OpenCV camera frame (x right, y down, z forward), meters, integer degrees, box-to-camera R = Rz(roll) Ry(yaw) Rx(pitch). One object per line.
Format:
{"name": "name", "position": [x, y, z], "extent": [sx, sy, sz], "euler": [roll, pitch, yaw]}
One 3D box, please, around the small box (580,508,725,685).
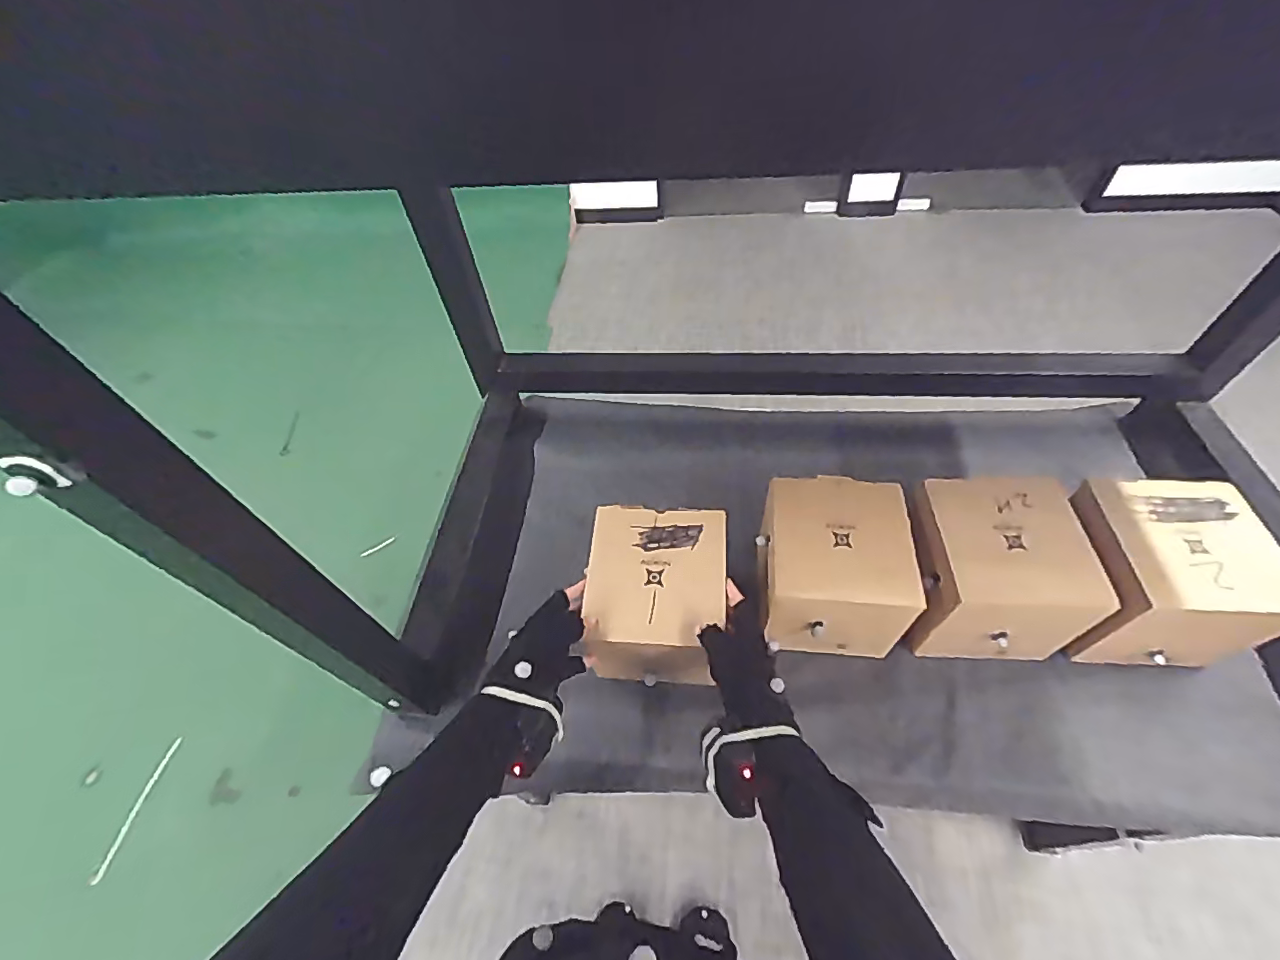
{"name": "small box", "position": [0.024, 0.156, 0.716], "extent": [0.168, 0.176, 0.179], "euler": [2, 57, 6]}
